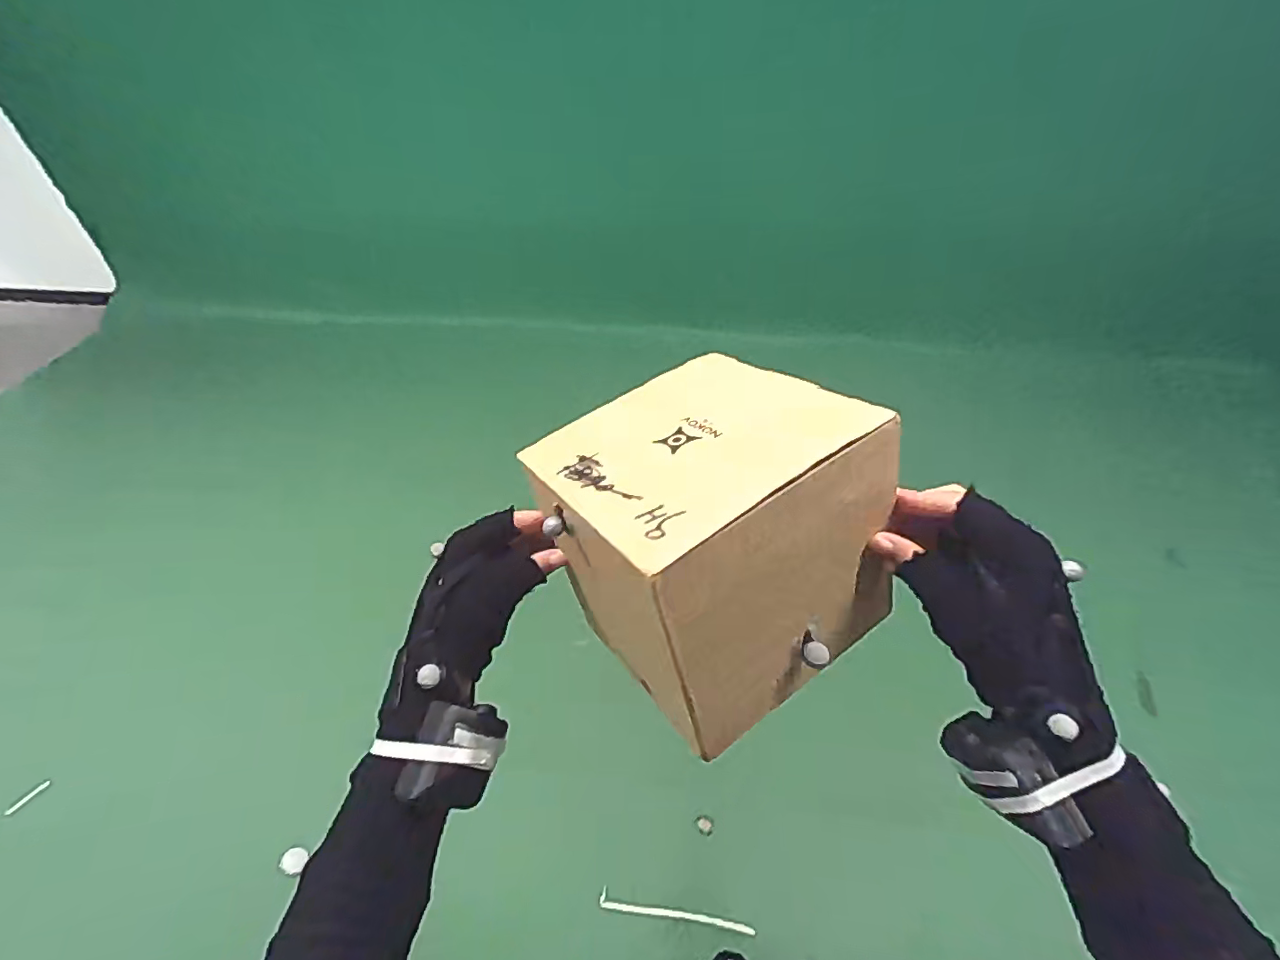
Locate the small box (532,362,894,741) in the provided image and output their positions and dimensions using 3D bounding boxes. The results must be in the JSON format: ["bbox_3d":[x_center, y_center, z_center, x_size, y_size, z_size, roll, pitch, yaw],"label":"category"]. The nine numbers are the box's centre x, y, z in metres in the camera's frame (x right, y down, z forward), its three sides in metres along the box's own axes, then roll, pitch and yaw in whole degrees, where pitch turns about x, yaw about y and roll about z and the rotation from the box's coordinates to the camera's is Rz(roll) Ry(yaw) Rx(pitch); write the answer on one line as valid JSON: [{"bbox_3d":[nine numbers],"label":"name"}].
[{"bbox_3d":[0.052,0.038,0.388,0.179,0.176,0.168,-29,34,-21],"label":"small box"}]
